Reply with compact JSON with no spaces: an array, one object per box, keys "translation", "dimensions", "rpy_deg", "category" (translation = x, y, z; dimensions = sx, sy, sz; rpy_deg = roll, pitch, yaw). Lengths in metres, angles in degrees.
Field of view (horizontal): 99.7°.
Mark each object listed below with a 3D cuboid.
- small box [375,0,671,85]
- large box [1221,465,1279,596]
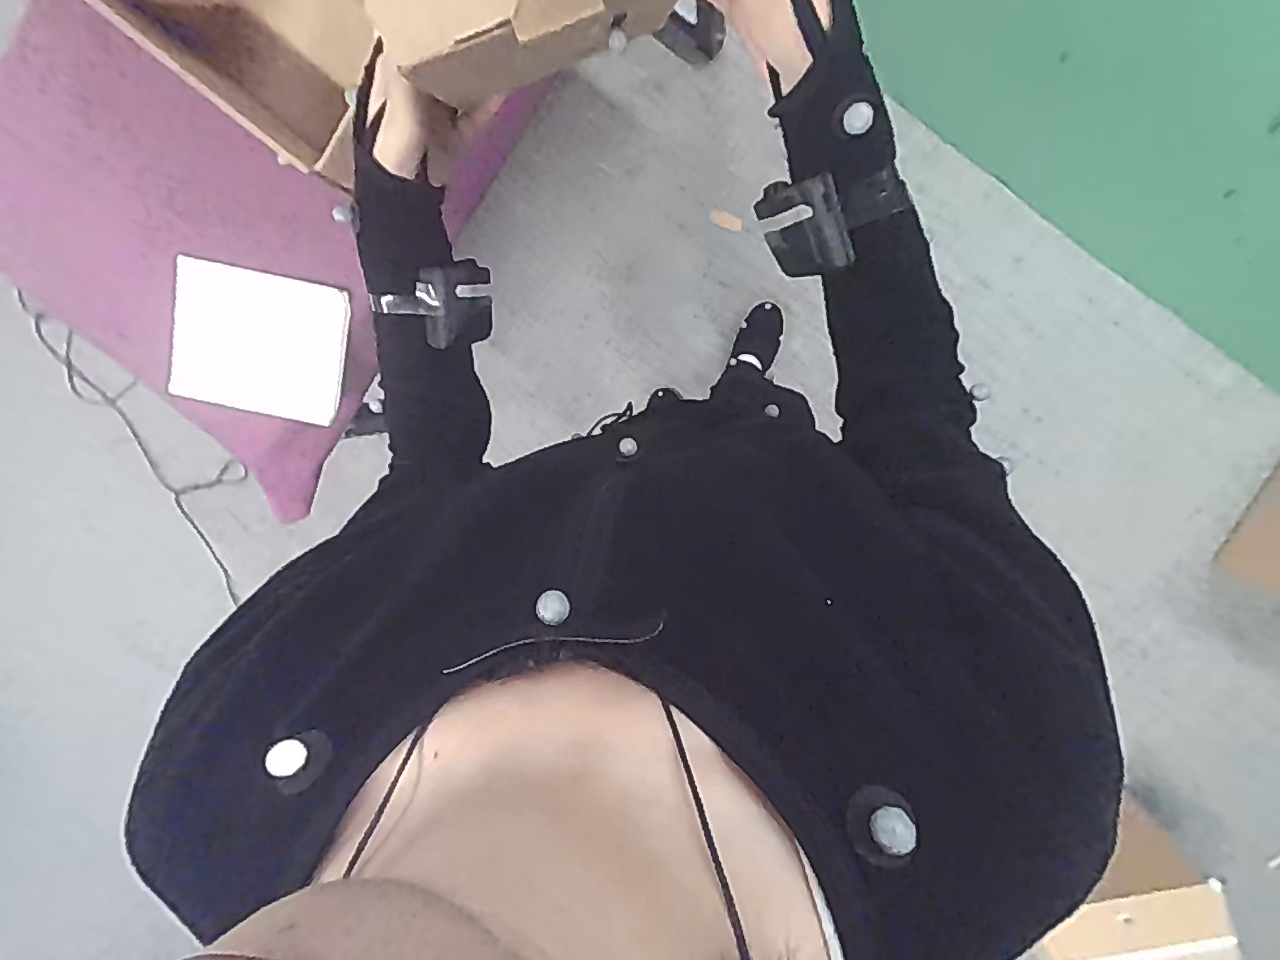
[{"translation":[-0.071,-0.334,0.280],"dimensions":[0.168,0.176,0.179],"rpy_deg":[-19,119,2],"category":"small box"},{"translation":[1.673,0.127,1.201],"dimensions":[0.320,0.320,0.408],"rpy_deg":[23,99,1],"category":"large box"}]
